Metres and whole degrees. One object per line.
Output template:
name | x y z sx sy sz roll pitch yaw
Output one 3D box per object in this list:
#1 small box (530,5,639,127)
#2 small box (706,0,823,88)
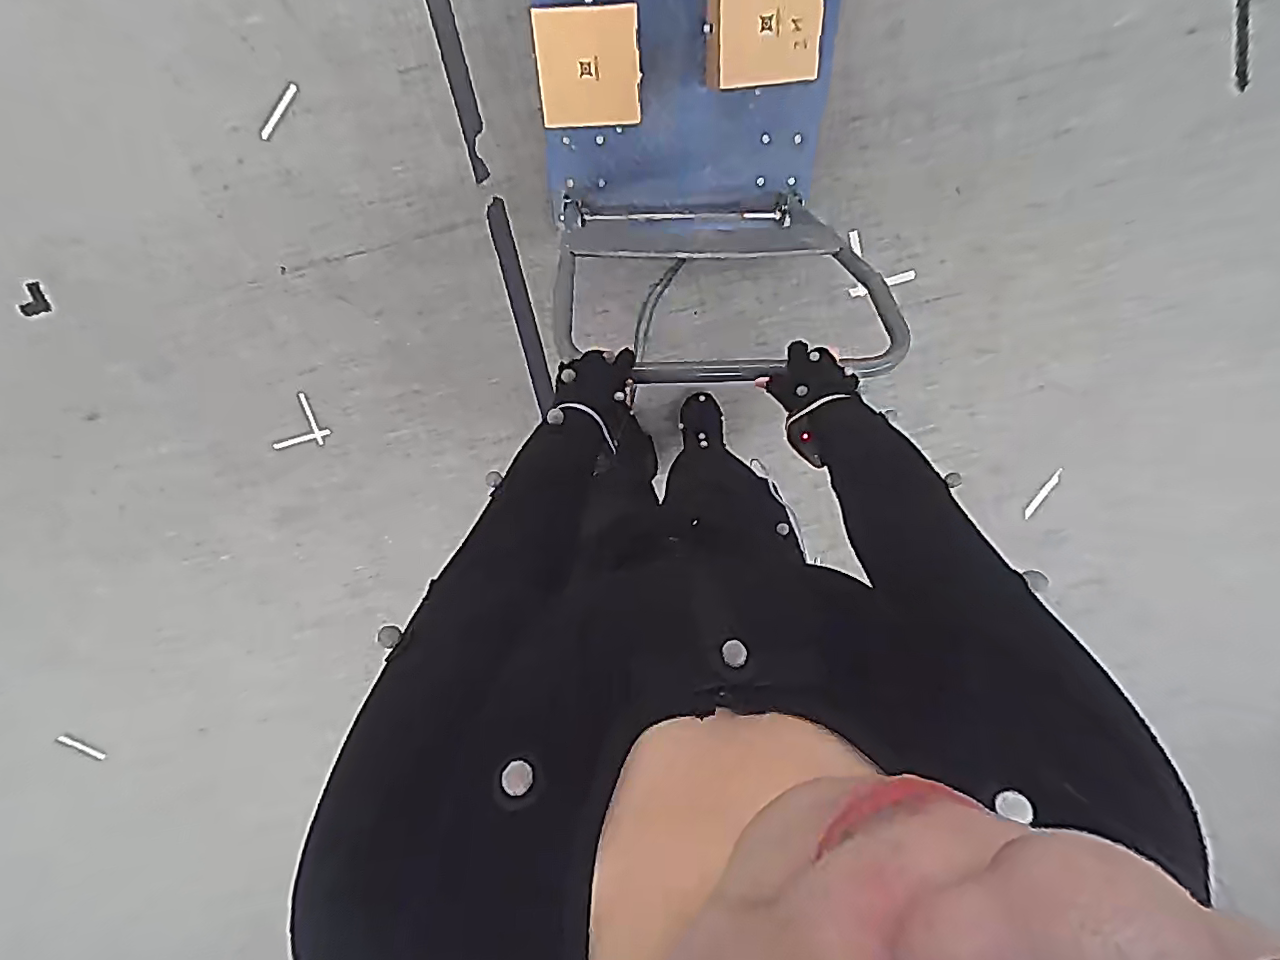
small box | -0.095 -0.751 0.990 0.179 0.176 0.168 -5 127 -2
small box | 0.213 -0.807 0.966 0.179 0.176 0.168 -5 128 1
